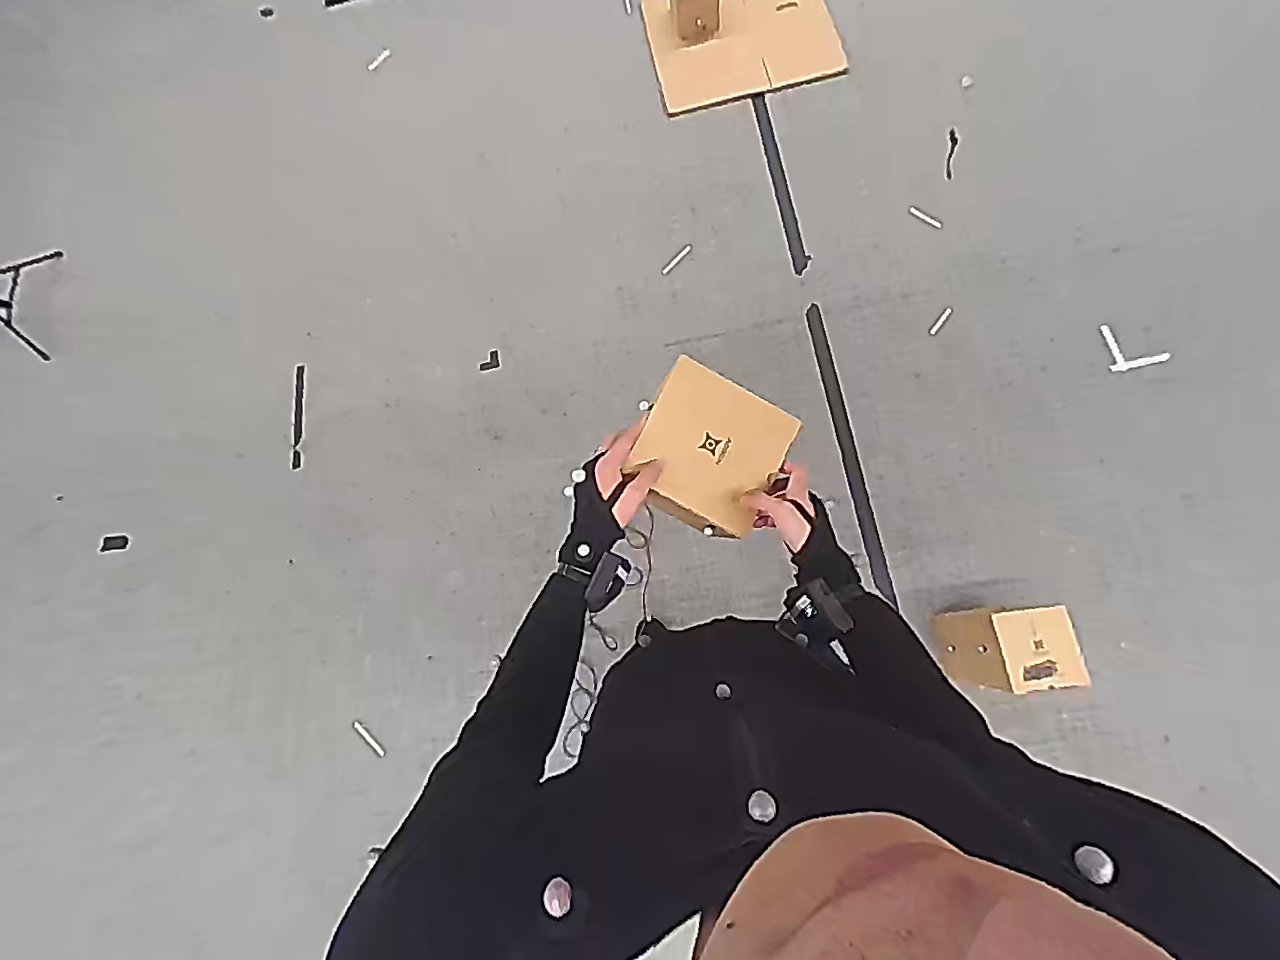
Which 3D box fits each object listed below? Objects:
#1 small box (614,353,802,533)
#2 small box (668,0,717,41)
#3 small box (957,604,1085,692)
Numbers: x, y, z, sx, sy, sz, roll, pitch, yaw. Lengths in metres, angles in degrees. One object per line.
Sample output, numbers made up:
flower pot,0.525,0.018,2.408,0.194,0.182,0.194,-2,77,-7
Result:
small box,0.077,-0.039,0.727,0.179,0.176,0.168,28,83,-6
small box,0.200,-1.855,2.084,0.168,0.176,0.179,-12,75,4
small box,0.893,0.393,1.284,0.168,0.176,0.179,-9,74,4
